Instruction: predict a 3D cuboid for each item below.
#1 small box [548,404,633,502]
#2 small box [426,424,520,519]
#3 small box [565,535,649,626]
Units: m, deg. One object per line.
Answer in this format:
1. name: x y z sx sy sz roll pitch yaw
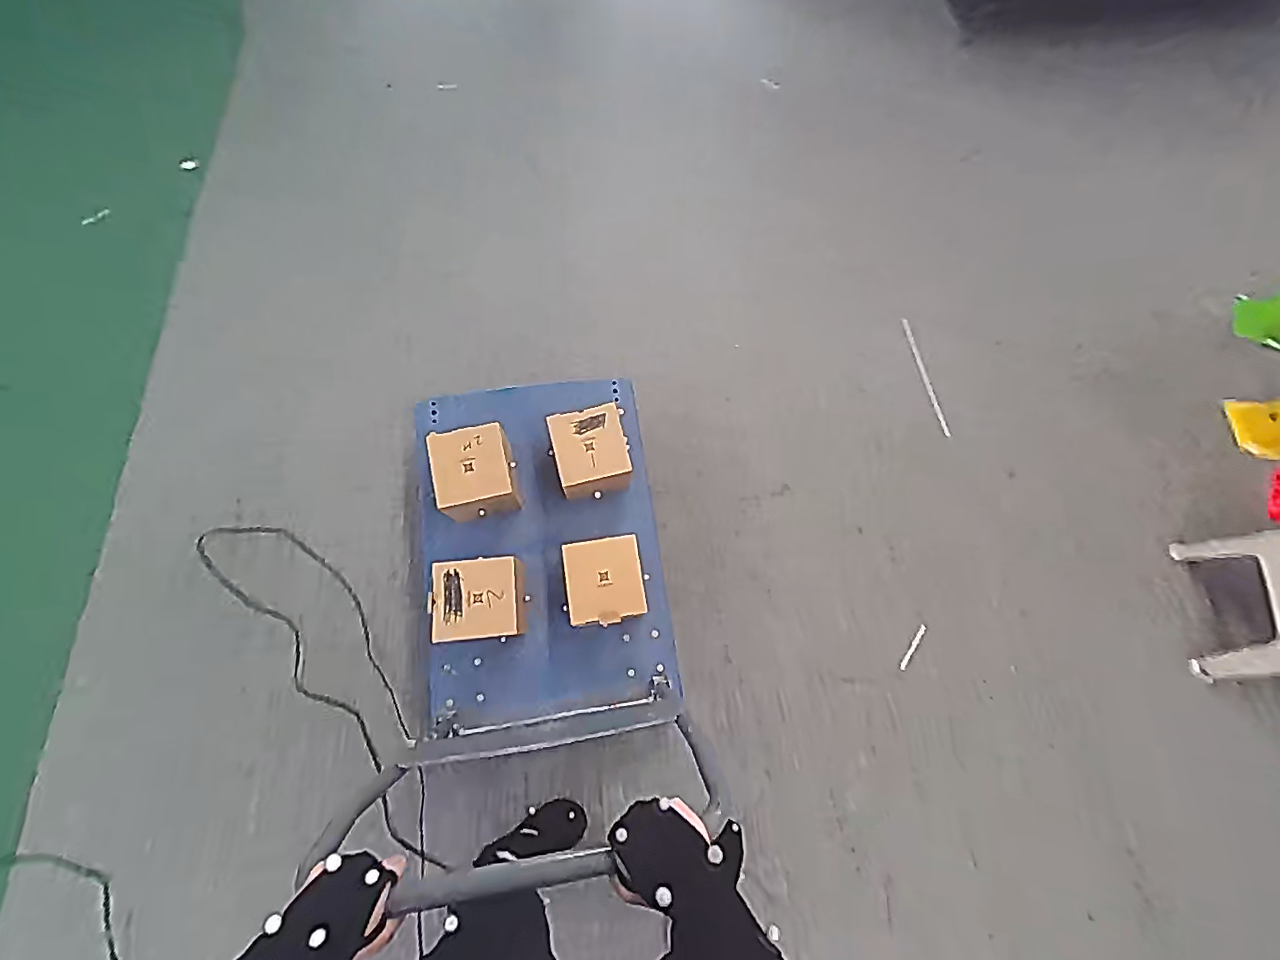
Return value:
1. small box: -0.120 -0.061 1.313 0.168 0.176 0.179 -14 77 -7
2. small box: -0.388 -0.011 1.282 0.168 0.176 0.179 -12 76 -8
3. small box: -0.079 0.234 1.237 0.168 0.176 0.179 -8 77 -6
